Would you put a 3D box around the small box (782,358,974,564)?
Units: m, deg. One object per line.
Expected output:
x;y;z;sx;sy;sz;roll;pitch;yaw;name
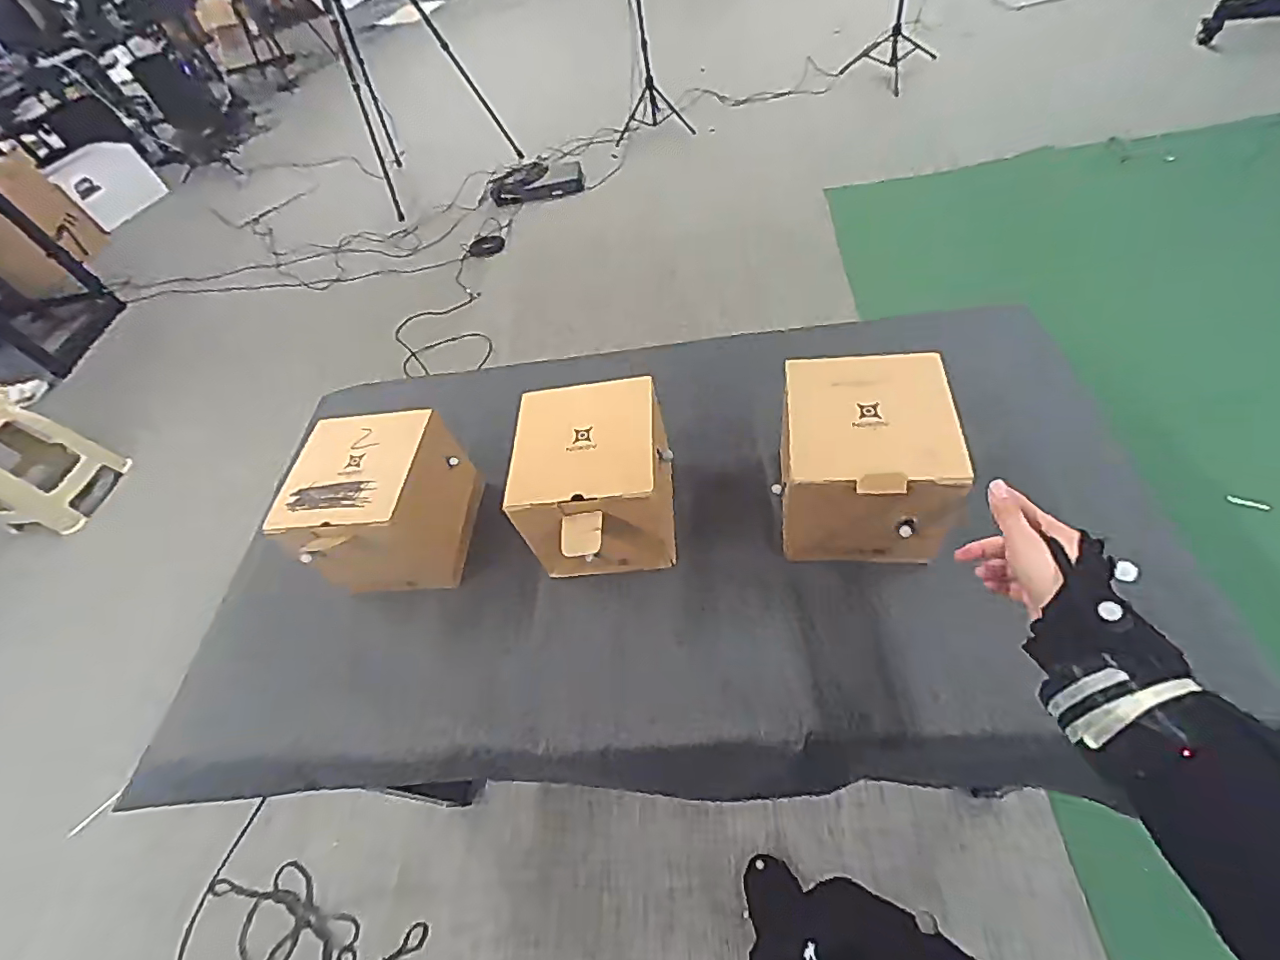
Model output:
0.253;-0.016;0.623;0.168;0.176;0.179;0;53;12;small box

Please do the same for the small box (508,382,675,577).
-0.048;0.004;0.679;0.168;0.176;0.179;-6;54;8;small box
